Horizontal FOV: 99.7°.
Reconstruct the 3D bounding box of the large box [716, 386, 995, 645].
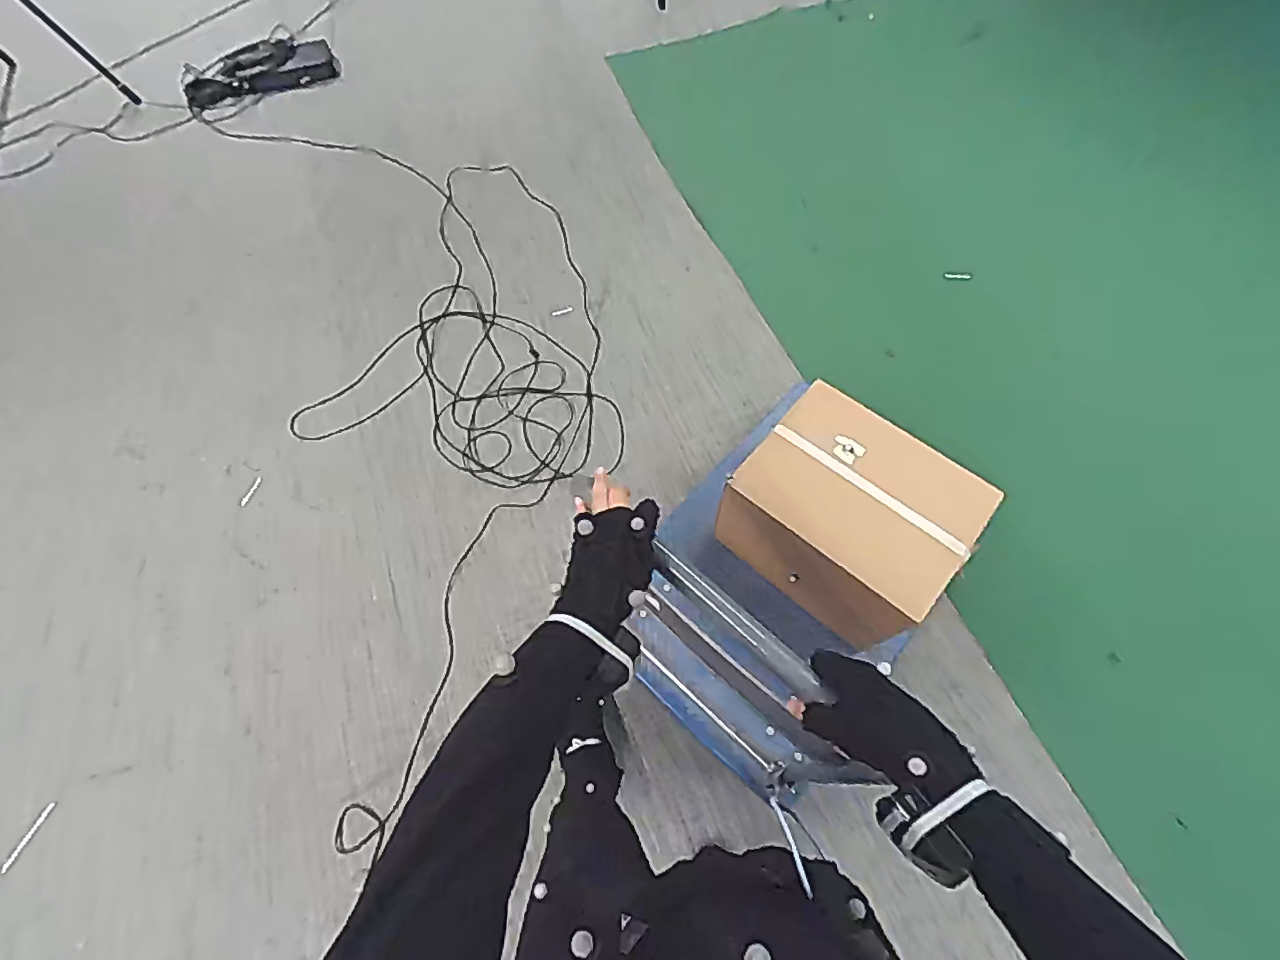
[{"bbox_3d":[0.419,0.084,1.147,0.408,0.320,0.320,38,71,19],"label":"large box"}]
